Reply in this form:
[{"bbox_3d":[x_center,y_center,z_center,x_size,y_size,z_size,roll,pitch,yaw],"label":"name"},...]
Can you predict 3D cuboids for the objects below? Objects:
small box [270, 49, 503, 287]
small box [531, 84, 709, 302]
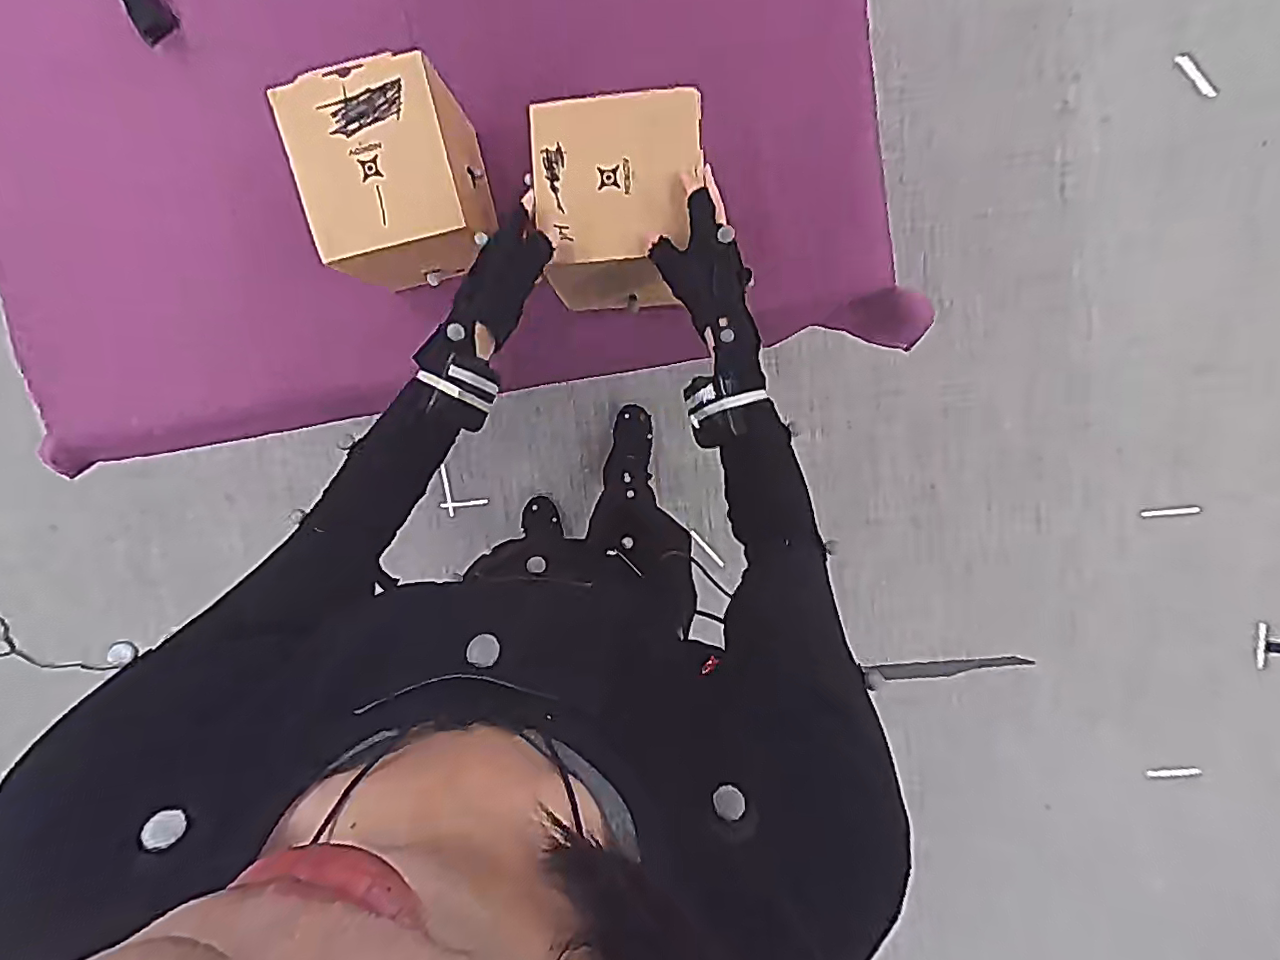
[{"bbox_3d":[-0.277,-0.345,0.634,0.168,0.176,0.179,-12,100,3],"label":"small box"},{"bbox_3d":[-0.017,-0.312,0.620,0.179,0.176,0.168,-2,92,3],"label":"small box"}]
